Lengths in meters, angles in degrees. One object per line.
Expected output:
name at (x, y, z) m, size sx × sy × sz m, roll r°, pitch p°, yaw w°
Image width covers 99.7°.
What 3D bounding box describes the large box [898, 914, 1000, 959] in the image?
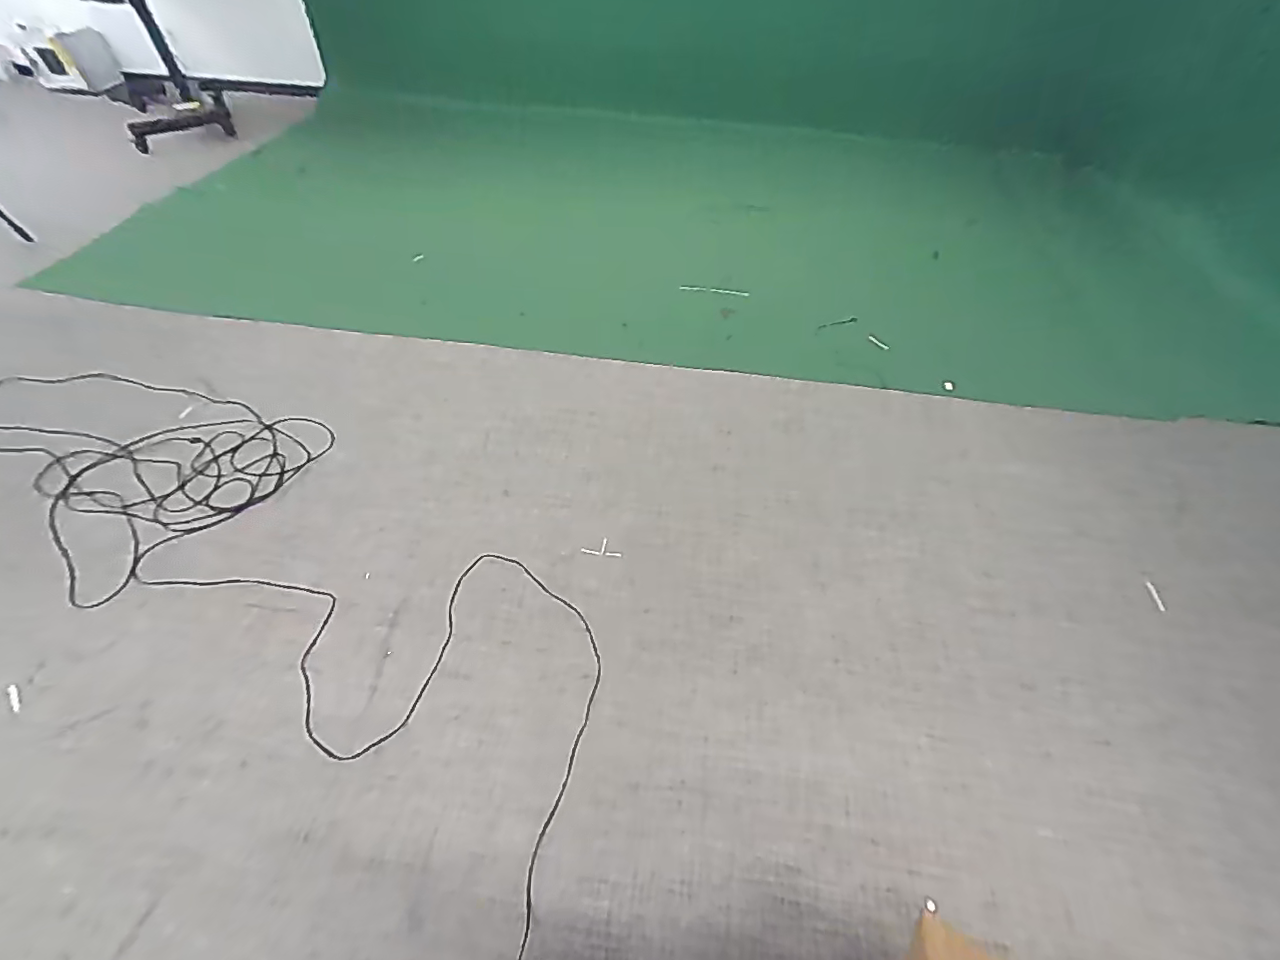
large box at (0.403, 0.797, 0.551) m, size 0.320 × 0.408 × 0.320 m, roll 24°, pitch 92°, yaw 24°
